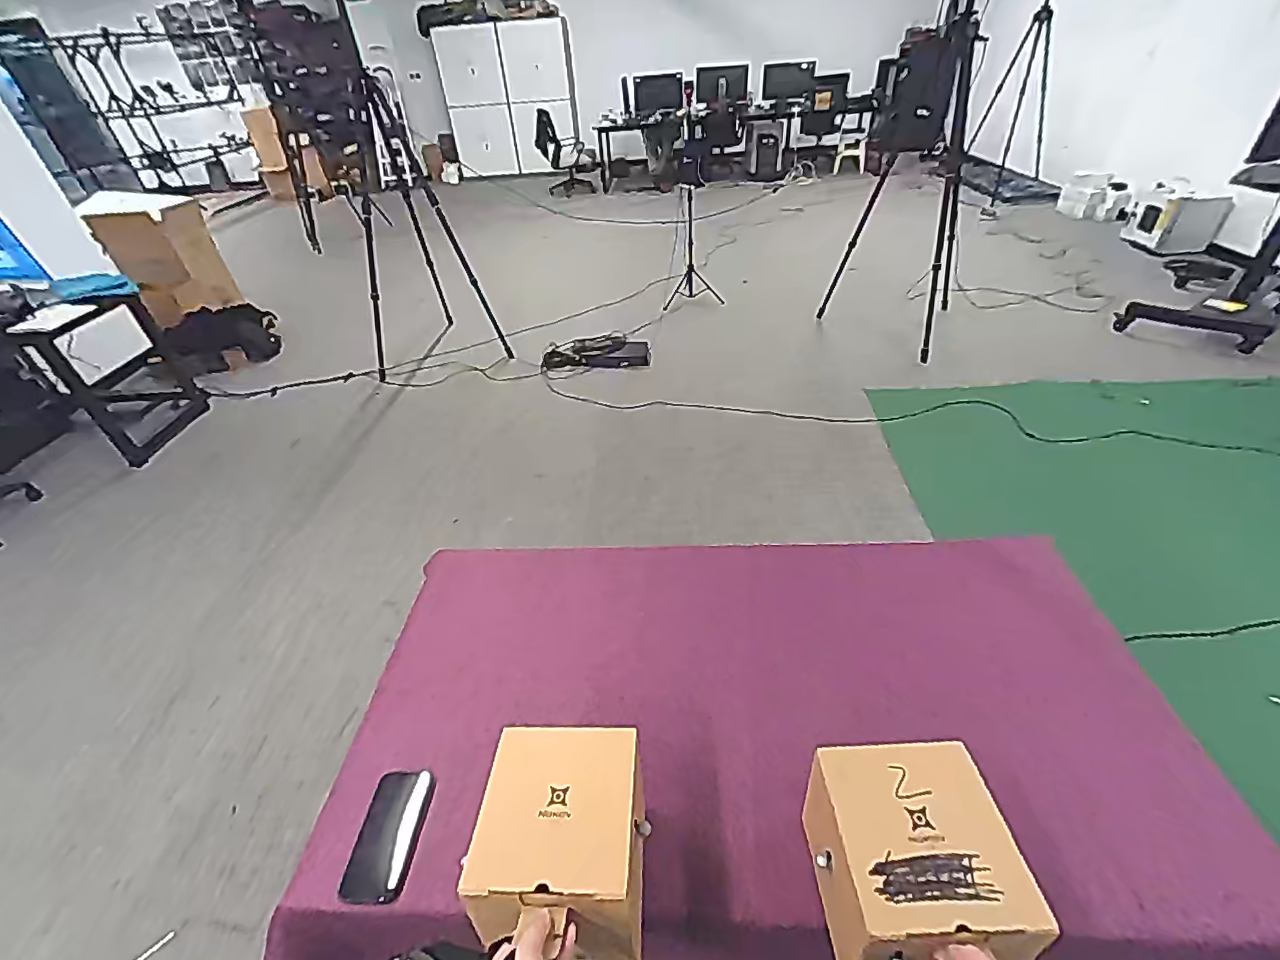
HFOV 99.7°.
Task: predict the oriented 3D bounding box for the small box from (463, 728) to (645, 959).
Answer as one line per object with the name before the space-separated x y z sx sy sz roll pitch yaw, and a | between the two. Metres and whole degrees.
small box | -0.081 0.416 0.621 0.168 0.176 0.179 -1 32 4
